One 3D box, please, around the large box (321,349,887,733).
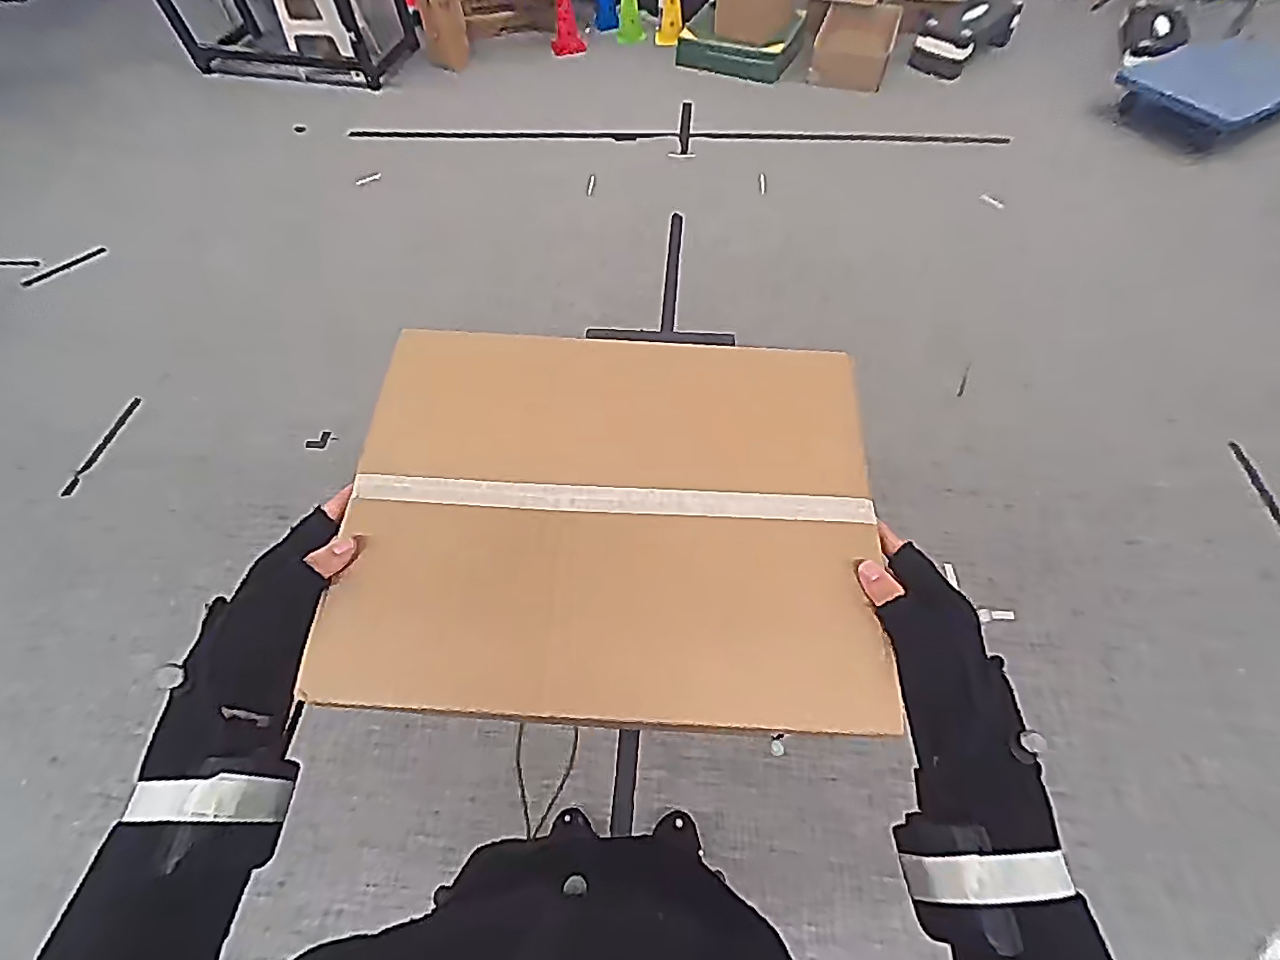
[{"bbox_3d":[-0.020,0.086,0.570,0.408,0.320,0.320,3,65,1],"label":"large box"}]
